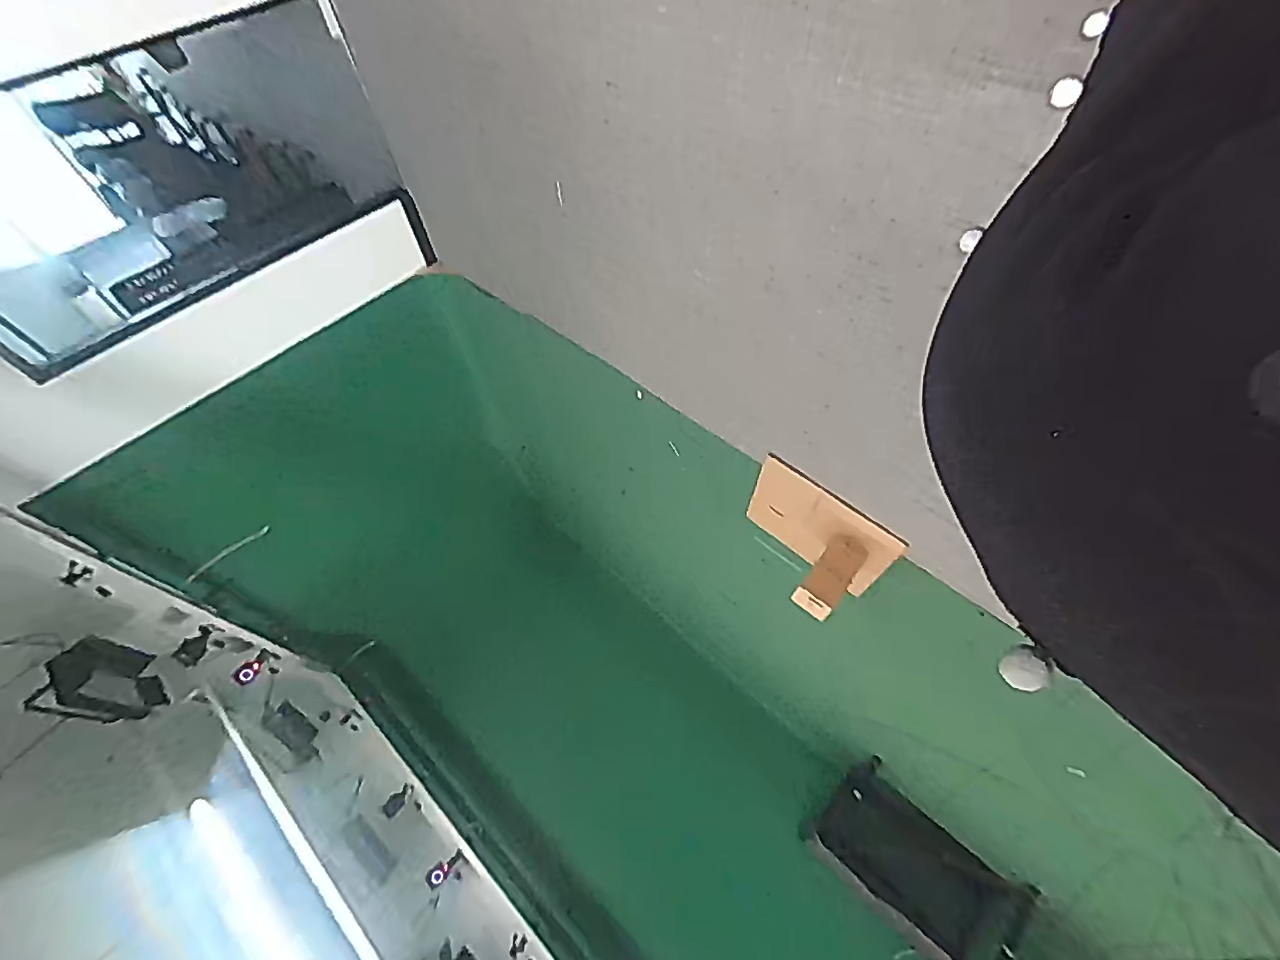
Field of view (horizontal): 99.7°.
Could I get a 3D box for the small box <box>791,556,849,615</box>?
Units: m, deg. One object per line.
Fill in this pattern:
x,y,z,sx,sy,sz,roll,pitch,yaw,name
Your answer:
0.809,0.468,2.421,0.168,0.176,0.179,36,156,20,small box

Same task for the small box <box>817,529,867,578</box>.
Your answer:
0.916,0.361,2.485,0.168,0.176,0.179,35,155,21,small box
